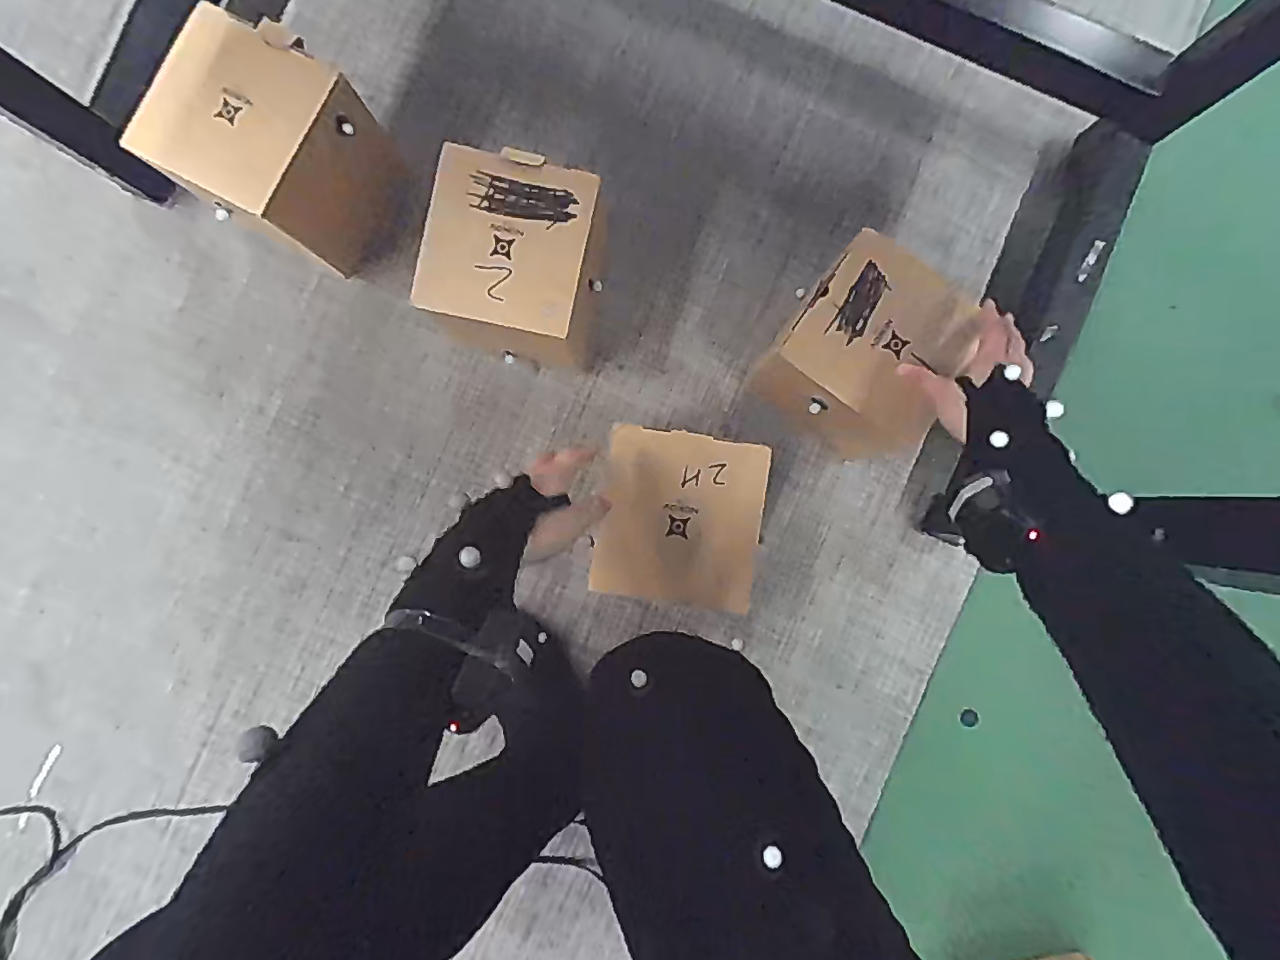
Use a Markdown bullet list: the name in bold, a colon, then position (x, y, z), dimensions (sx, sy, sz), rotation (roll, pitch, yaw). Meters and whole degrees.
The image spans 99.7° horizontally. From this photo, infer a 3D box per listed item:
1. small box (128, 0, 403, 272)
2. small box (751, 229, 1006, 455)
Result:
- **small box**: position (-0.411, -0.377, 0.629), dimensions (0.168, 0.176, 0.179), rotation (28, 88, 1)
- **small box**: position (0.254, -0.139, 0.625), dimensions (0.179, 0.176, 0.168), rotation (37, 89, -1)
